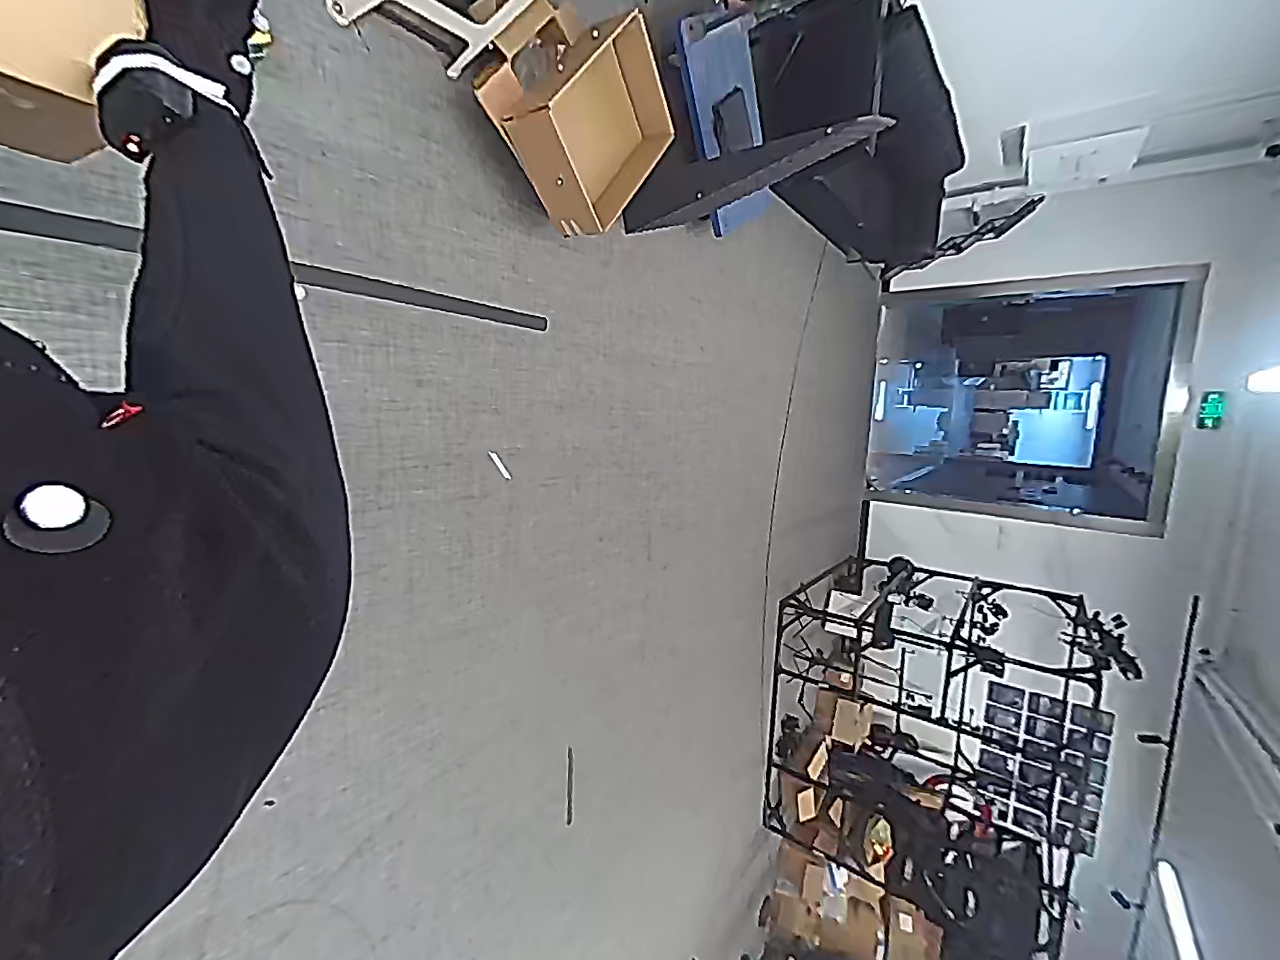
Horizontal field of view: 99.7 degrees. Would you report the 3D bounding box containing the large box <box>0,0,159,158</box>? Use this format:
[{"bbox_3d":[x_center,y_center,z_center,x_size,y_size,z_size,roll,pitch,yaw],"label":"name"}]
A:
[{"bbox_3d":[-0.608,-0.453,0.330,0.408,0.320,0.320,-7,110,-55],"label":"large box"}]
